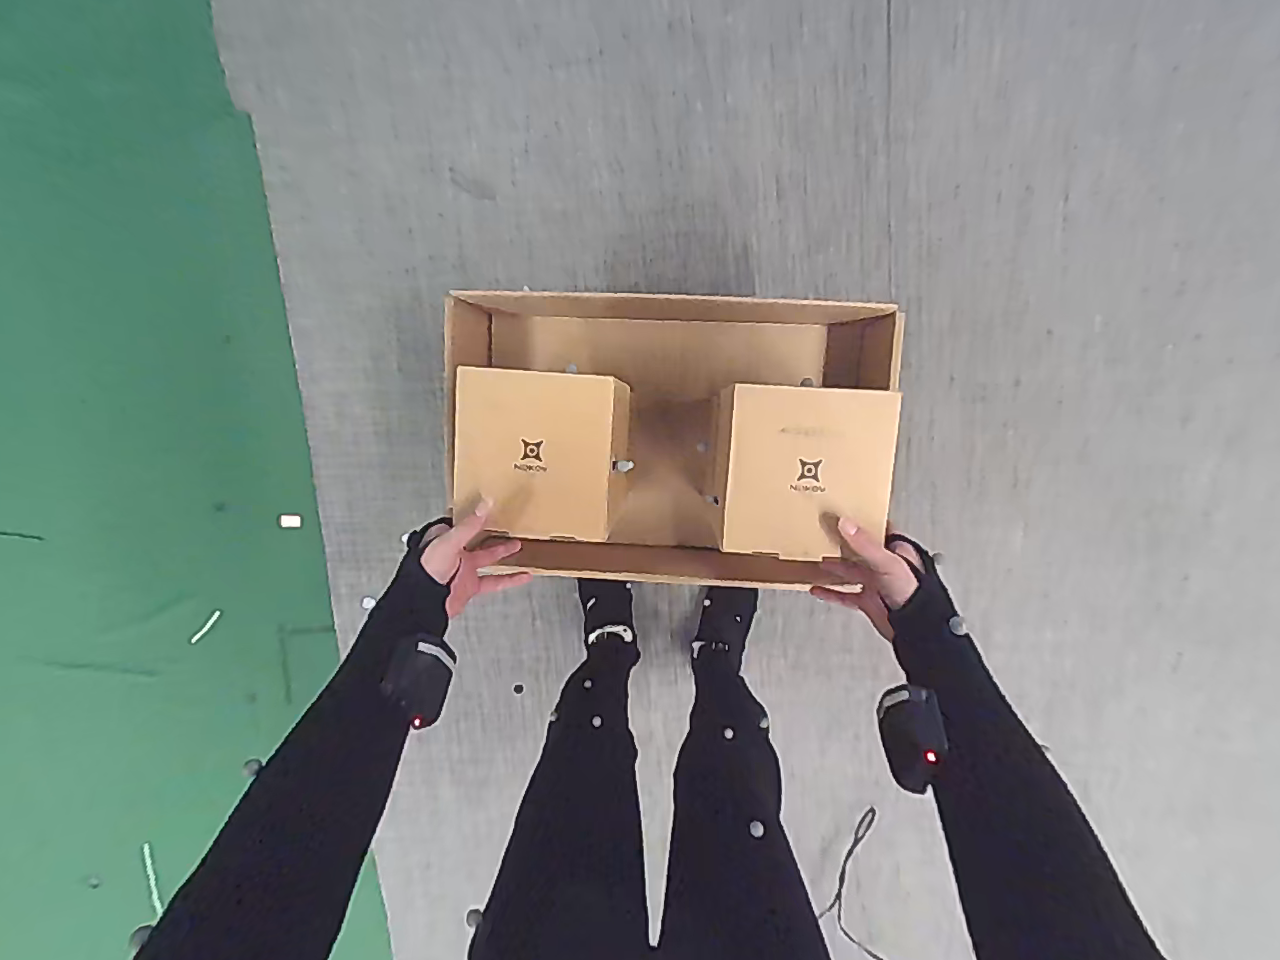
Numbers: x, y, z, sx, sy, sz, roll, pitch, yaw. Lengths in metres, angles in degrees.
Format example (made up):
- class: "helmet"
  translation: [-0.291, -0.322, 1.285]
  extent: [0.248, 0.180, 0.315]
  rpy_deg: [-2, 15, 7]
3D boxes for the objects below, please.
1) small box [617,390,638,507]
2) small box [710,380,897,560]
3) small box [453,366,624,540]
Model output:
- class: "small box"
  translation: [-0.102, -0.056, 0.811]
  extent: [0.179, 0.176, 0.168]
  rpy_deg: [5, 98, 3]
- class: "small box"
  translation: [0.172, -0.019, 0.625]
  extent: [0.168, 0.176, 0.179]
  rpy_deg: [4, 97, 3]
- class: "small box"
  translation: [-0.110, -0.037, 0.649]
  extent: [0.168, 0.176, 0.179]
  rpy_deg: [4, 98, 3]
